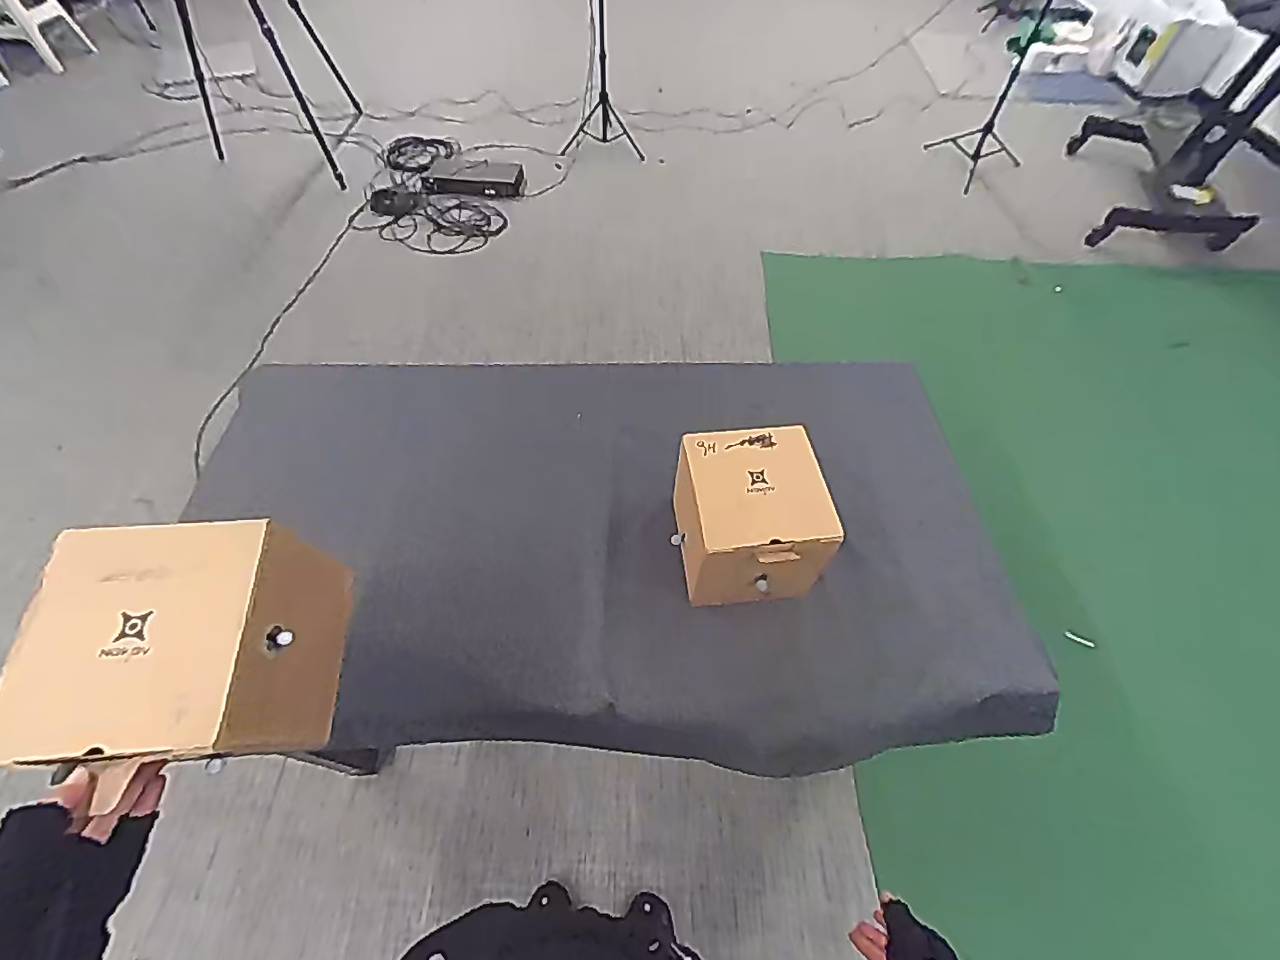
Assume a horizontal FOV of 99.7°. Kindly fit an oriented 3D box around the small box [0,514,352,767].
[{"bbox_3d":[-0.381,0.145,0.480,0.168,0.176,0.179,-4,64,-4],"label":"small box"}]

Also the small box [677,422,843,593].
[{"bbox_3d":[0.146,0.044,0.729,0.168,0.176,0.179,-4,57,-5],"label":"small box"}]
